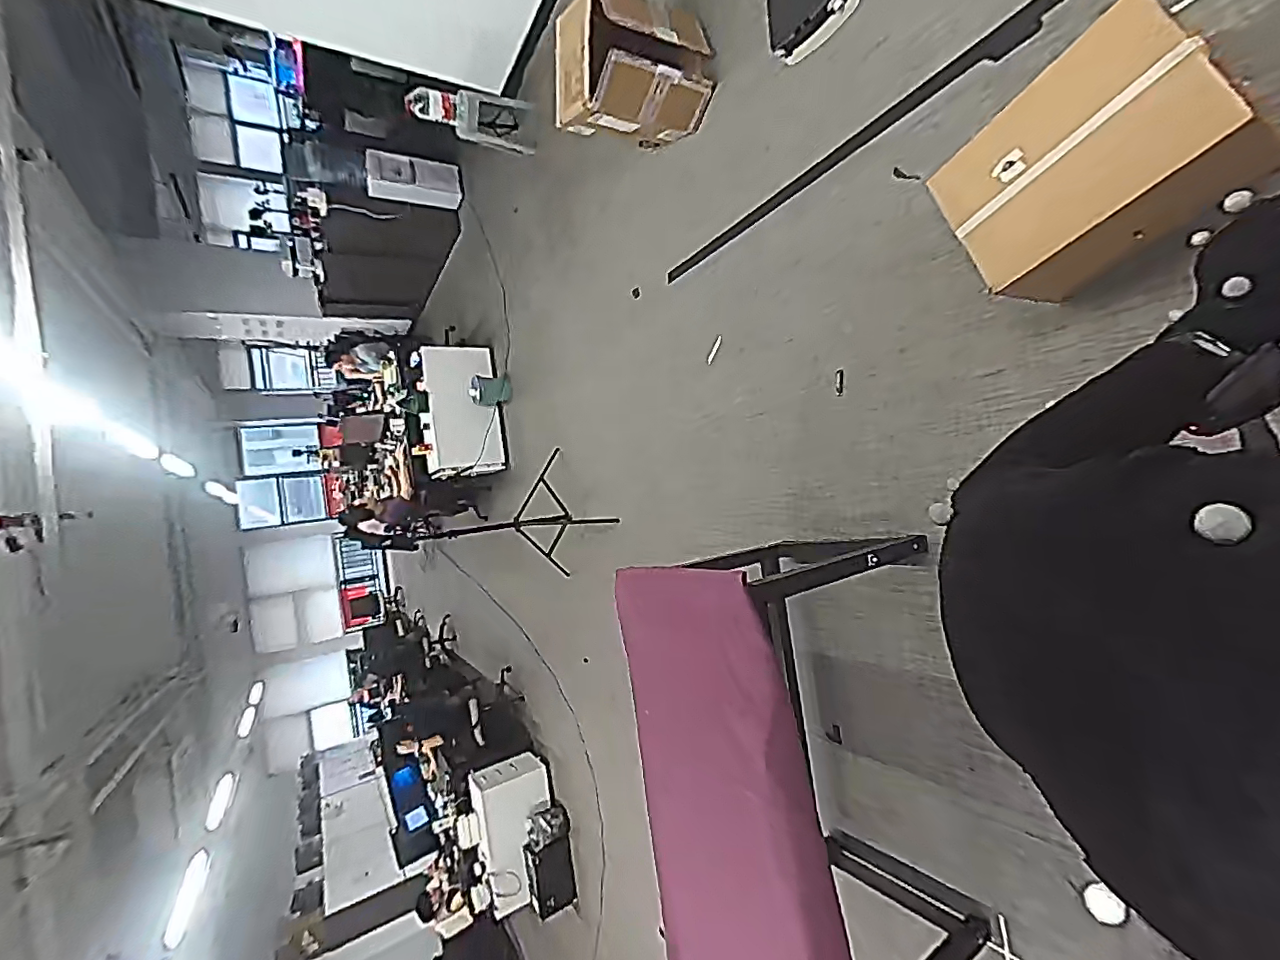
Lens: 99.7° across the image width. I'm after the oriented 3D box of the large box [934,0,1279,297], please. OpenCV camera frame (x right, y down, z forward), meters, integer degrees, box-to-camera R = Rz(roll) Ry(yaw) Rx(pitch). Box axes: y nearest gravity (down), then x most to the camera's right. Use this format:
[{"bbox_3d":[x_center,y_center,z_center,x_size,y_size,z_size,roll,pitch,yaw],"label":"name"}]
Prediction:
[{"bbox_3d":[0.903,-0.620,1.064,0.408,0.320,0.320,-42,60,54],"label":"large box"}]
